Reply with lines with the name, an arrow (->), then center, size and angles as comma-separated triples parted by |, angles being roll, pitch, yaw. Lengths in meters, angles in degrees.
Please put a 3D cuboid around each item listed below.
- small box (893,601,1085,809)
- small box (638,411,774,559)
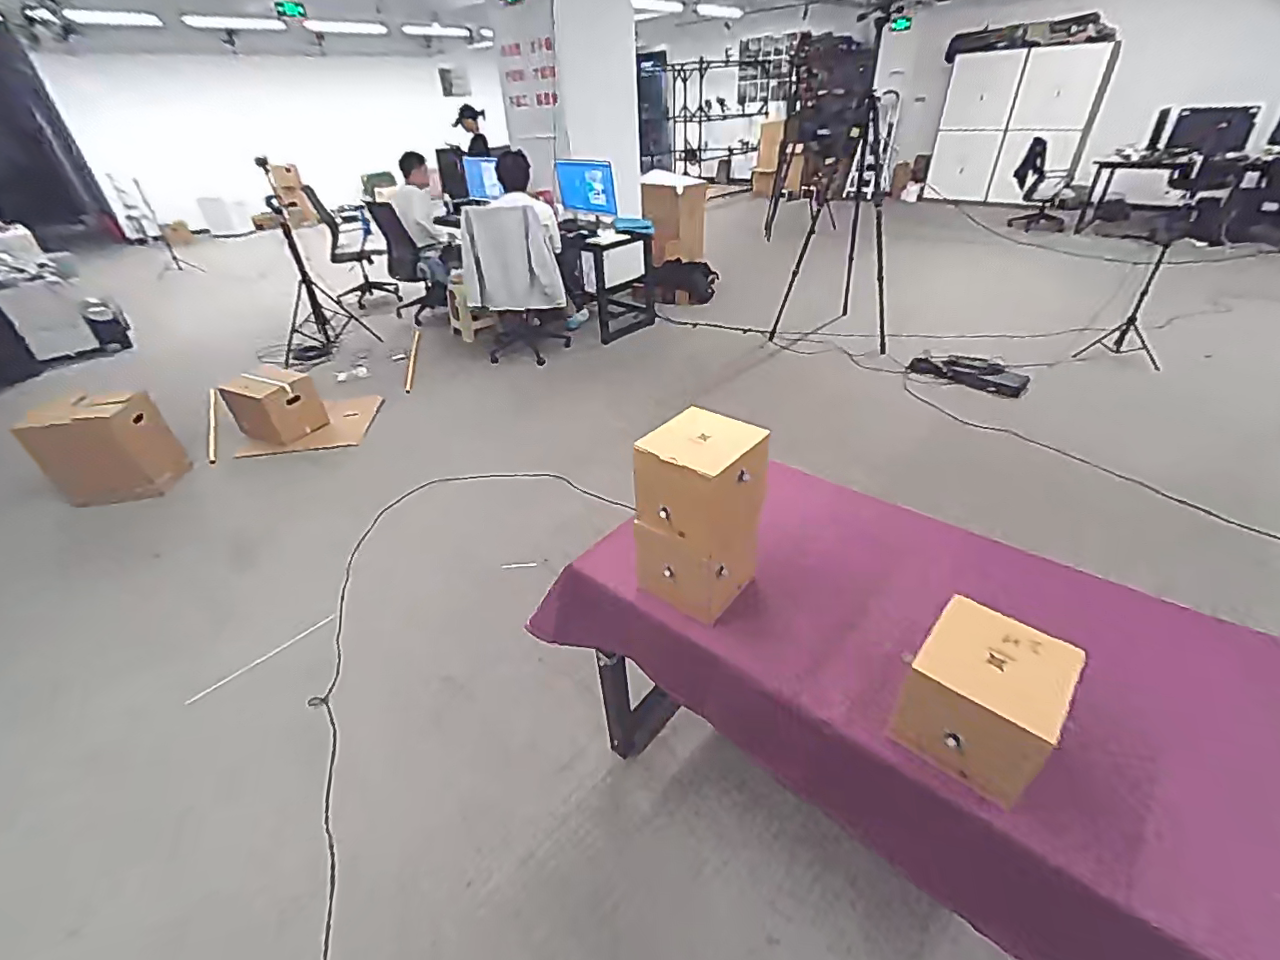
small box -> 0.481, 0.315, 0.765 | 0.168, 0.176, 0.179 | 27, 45, 36
small box -> 0.113, 0.004, 0.952 | 0.168, 0.176, 0.179 | 24, 43, 34
